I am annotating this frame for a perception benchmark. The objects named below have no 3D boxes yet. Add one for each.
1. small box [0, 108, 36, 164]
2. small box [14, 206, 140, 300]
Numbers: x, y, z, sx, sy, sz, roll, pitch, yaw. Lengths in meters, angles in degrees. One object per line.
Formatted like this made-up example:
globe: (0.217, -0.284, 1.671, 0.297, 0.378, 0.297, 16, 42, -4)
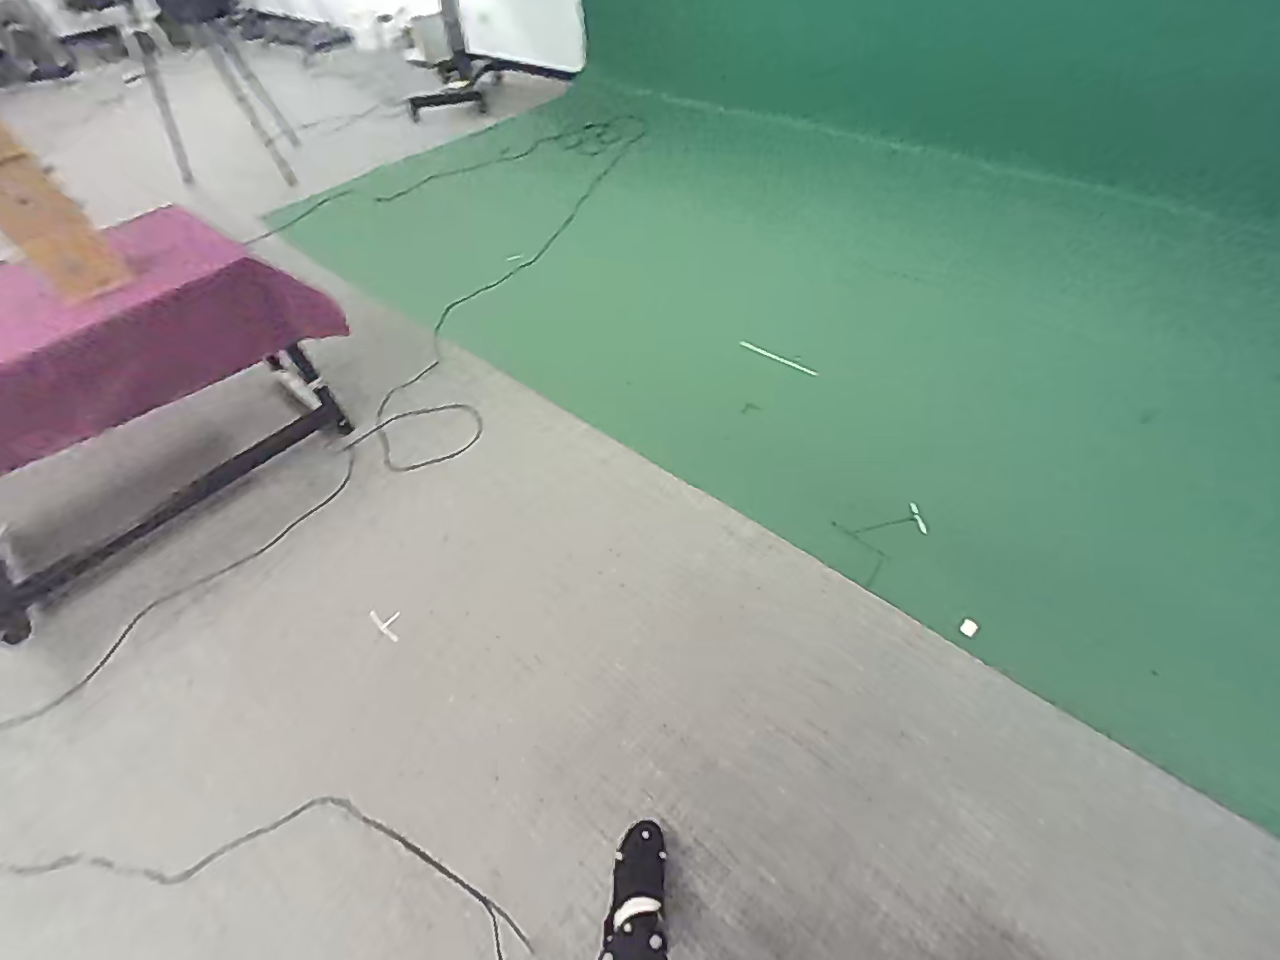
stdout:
small box: (-1.562, -0.826, 1.235, 0.179, 0.176, 0.168, 34, 62, 27)
small box: (-1.543, -0.621, 1.492, 0.179, 0.176, 0.168, 34, 61, 28)
